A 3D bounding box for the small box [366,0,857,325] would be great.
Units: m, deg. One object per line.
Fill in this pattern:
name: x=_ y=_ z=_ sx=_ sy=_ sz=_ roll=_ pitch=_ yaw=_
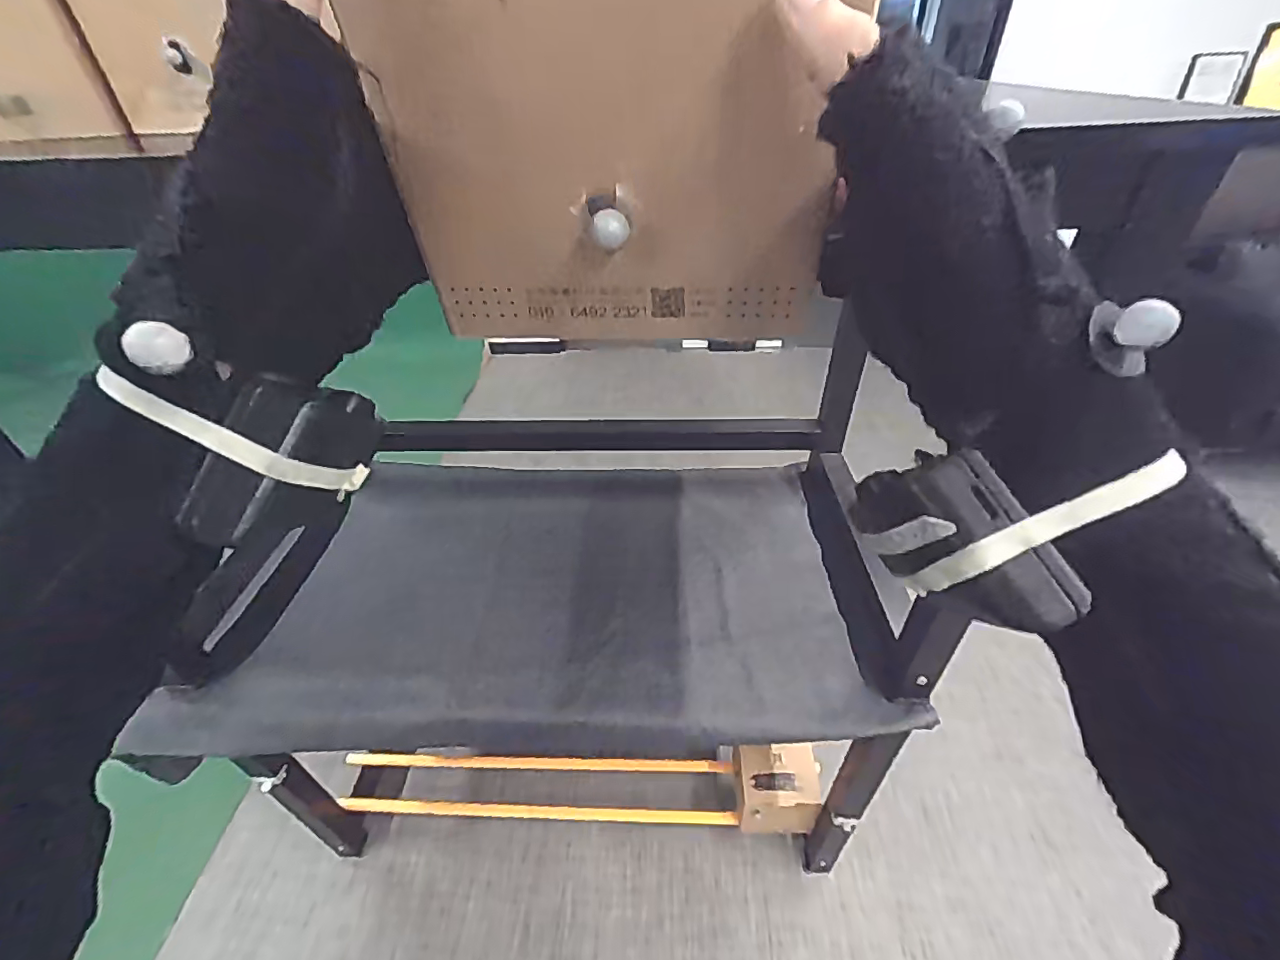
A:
small box: x=-0.007 y=-0.192 z=0.248 sx=0.168 sy=0.176 sz=0.179 roll=1 pitch=49 yaw=5
